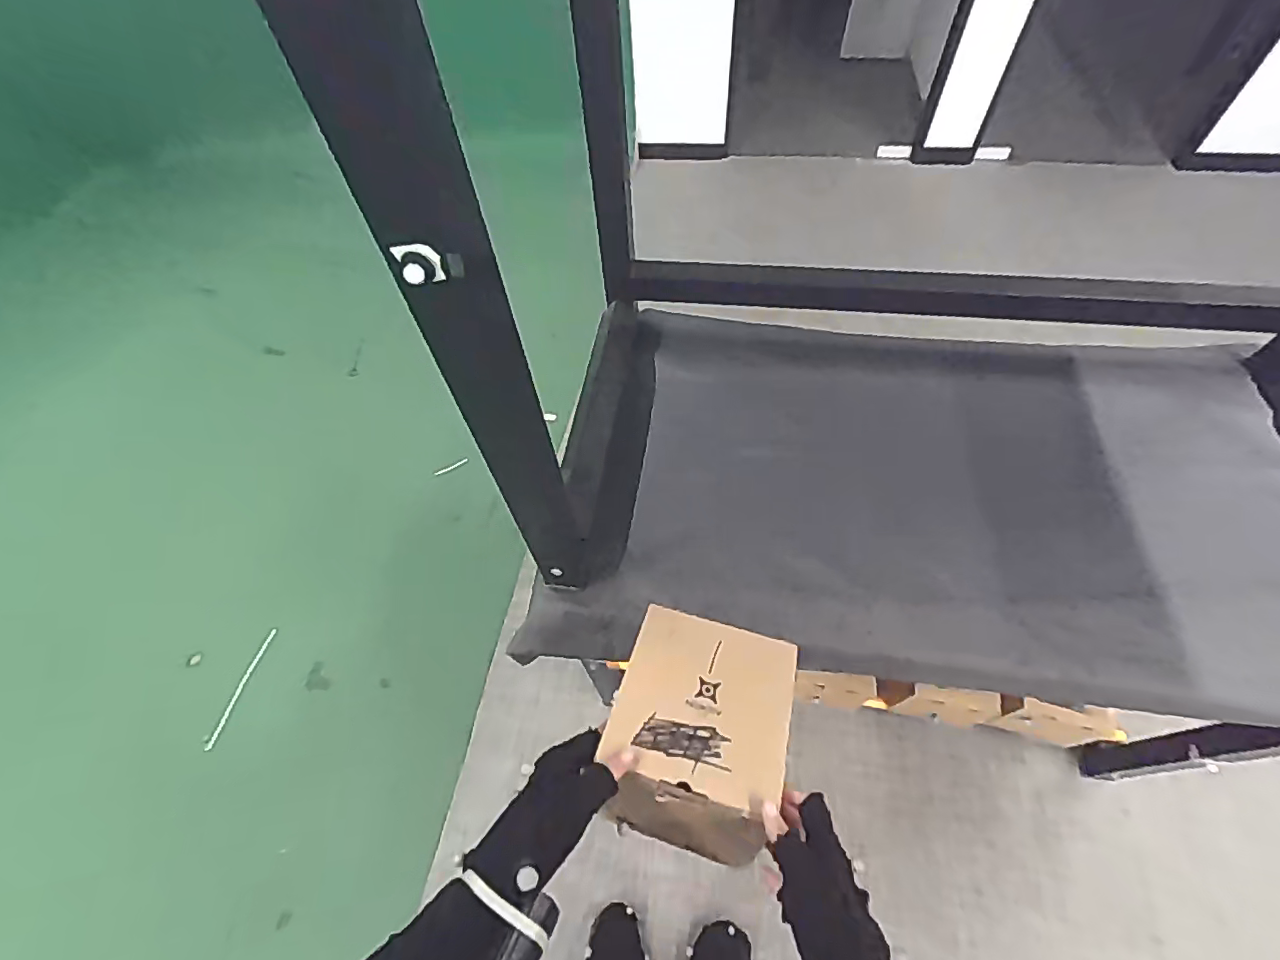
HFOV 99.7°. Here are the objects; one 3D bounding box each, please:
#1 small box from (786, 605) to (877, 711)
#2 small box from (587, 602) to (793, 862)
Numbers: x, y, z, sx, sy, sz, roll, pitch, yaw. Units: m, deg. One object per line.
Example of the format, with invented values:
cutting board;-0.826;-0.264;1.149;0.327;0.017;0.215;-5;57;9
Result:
small box;0.424;0.404;1.223;0.168;0.176;0.179;7;59;9
small box;0.055;0.267;0.575;0.168;0.176;0.179;14;43;12
